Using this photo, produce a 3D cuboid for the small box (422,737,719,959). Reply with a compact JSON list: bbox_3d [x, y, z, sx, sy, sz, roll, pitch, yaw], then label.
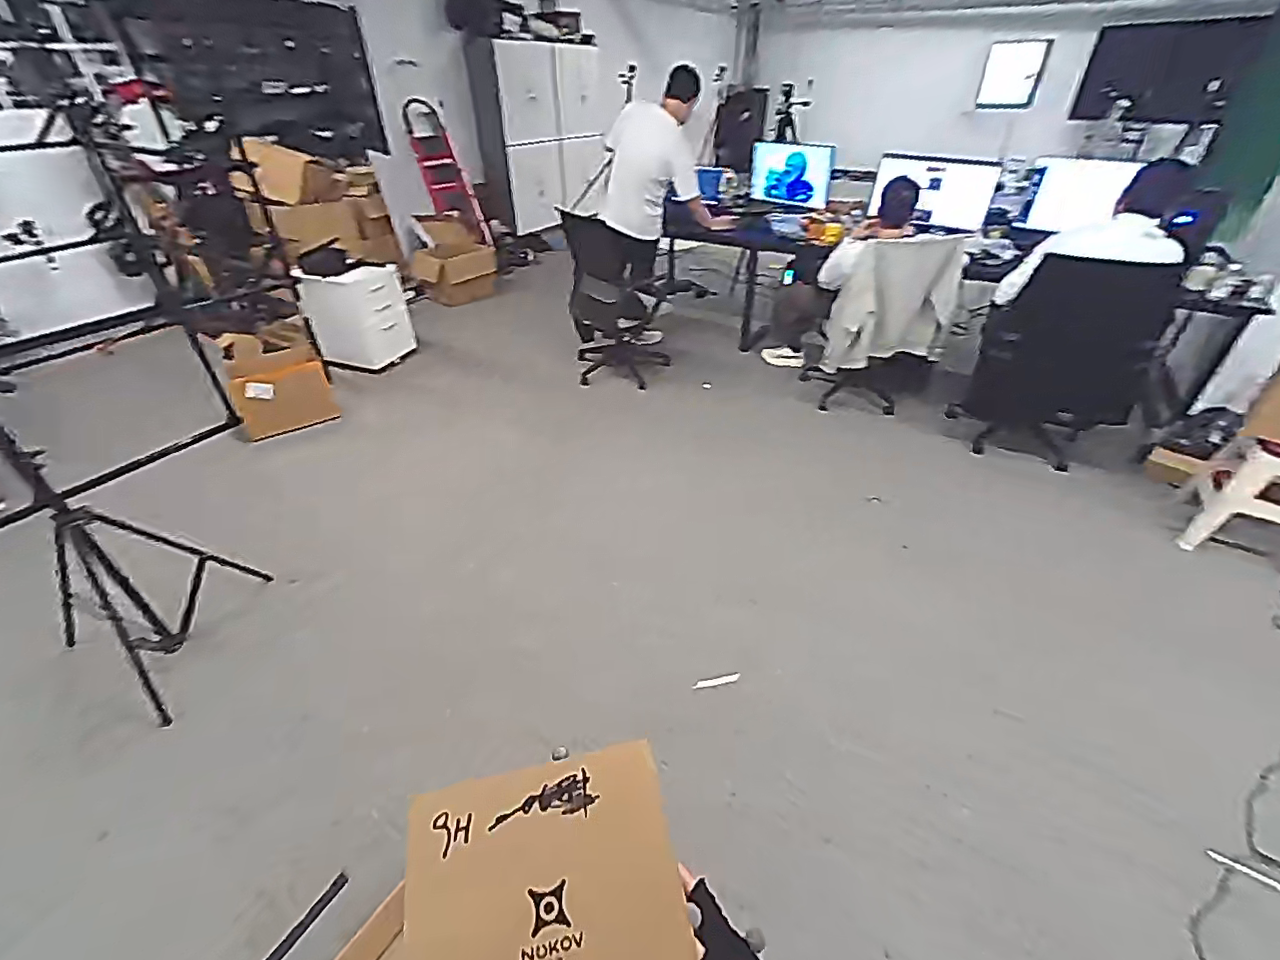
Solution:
[{"bbox_3d":[-0.043,0.304,0.374,0.168,0.176,0.179,-9,53,-9],"label":"small box"}]
